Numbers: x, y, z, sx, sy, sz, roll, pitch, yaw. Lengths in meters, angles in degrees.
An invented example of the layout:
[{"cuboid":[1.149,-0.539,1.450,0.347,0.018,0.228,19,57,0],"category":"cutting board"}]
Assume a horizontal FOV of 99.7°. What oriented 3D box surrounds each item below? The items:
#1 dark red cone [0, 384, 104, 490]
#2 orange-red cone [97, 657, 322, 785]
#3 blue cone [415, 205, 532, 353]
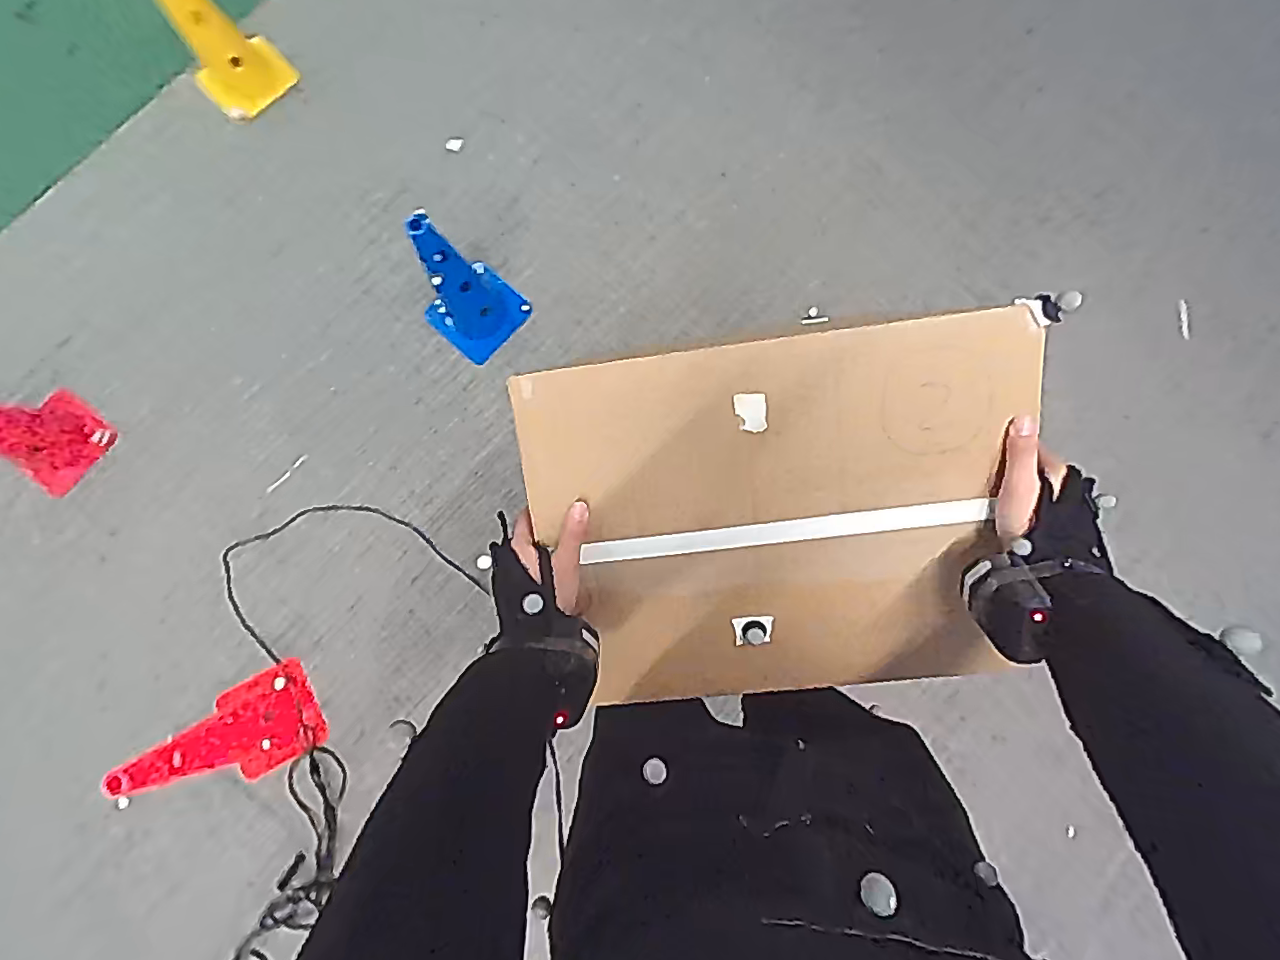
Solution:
[{"cuboid":[-1.377,-0.128,1.099,0.201,0.394,0.202,35,84,10],"category":"dark red cone"},{"cuboid":[-0.813,0.482,1.006,0.199,0.360,0.198,-26,80,-1],"category":"orange-red cone"},{"cuboid":[-0.388,-0.443,1.153,0.193,0.380,0.192,43,84,7],"category":"blue cone"}]
